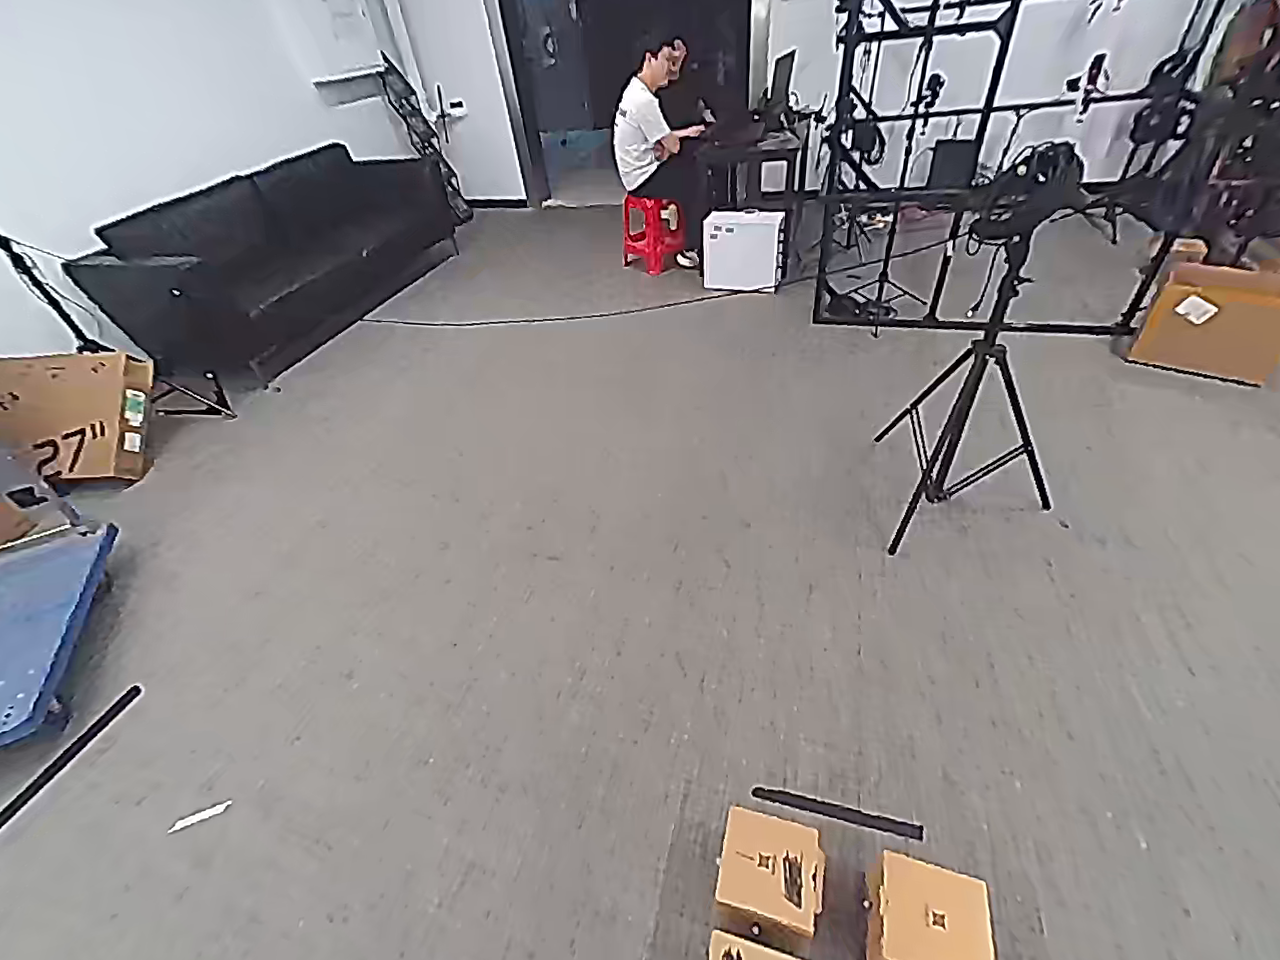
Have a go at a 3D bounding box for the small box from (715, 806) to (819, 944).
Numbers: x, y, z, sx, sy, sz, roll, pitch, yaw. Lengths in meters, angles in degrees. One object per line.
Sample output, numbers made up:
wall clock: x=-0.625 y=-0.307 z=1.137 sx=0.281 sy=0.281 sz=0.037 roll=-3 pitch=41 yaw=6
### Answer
small box: x=0.253 y=0.788 z=1.078 sx=0.179 sy=0.176 sz=0.168 roll=7 pitch=43 yaw=17

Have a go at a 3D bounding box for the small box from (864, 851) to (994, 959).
small box: x=0.523 y=0.825 z=0.996 sx=0.179 sy=0.176 sz=0.168 roll=8 pitch=43 yaw=18
